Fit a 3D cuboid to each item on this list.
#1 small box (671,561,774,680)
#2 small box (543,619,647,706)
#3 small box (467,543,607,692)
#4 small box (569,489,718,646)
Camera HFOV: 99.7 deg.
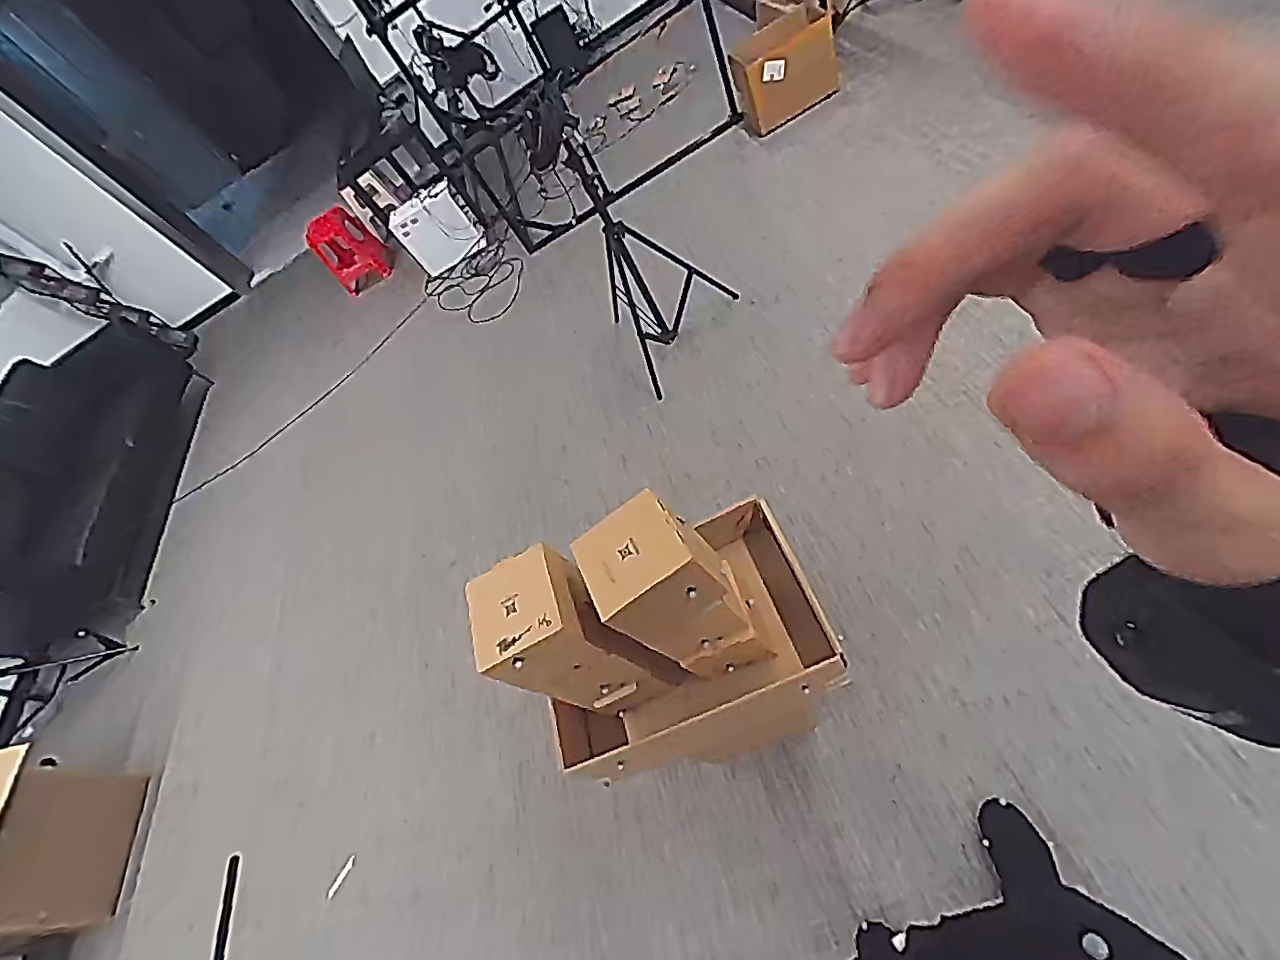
[{"bbox_3d":[0.167,0.308,1.167,0.168,0.176,0.179,-28,52,14],"label":"small box"},{"bbox_3d":[-0.108,0.328,1.087,0.168,0.176,0.179,-30,51,9],"label":"small box"},{"bbox_3d":[-0.182,0.249,0.961,0.168,0.176,0.179,-30,50,10],"label":"small box"},{"bbox_3d":[0.015,0.153,0.920,0.179,0.176,0.168,-37,49,6],"label":"small box"}]
